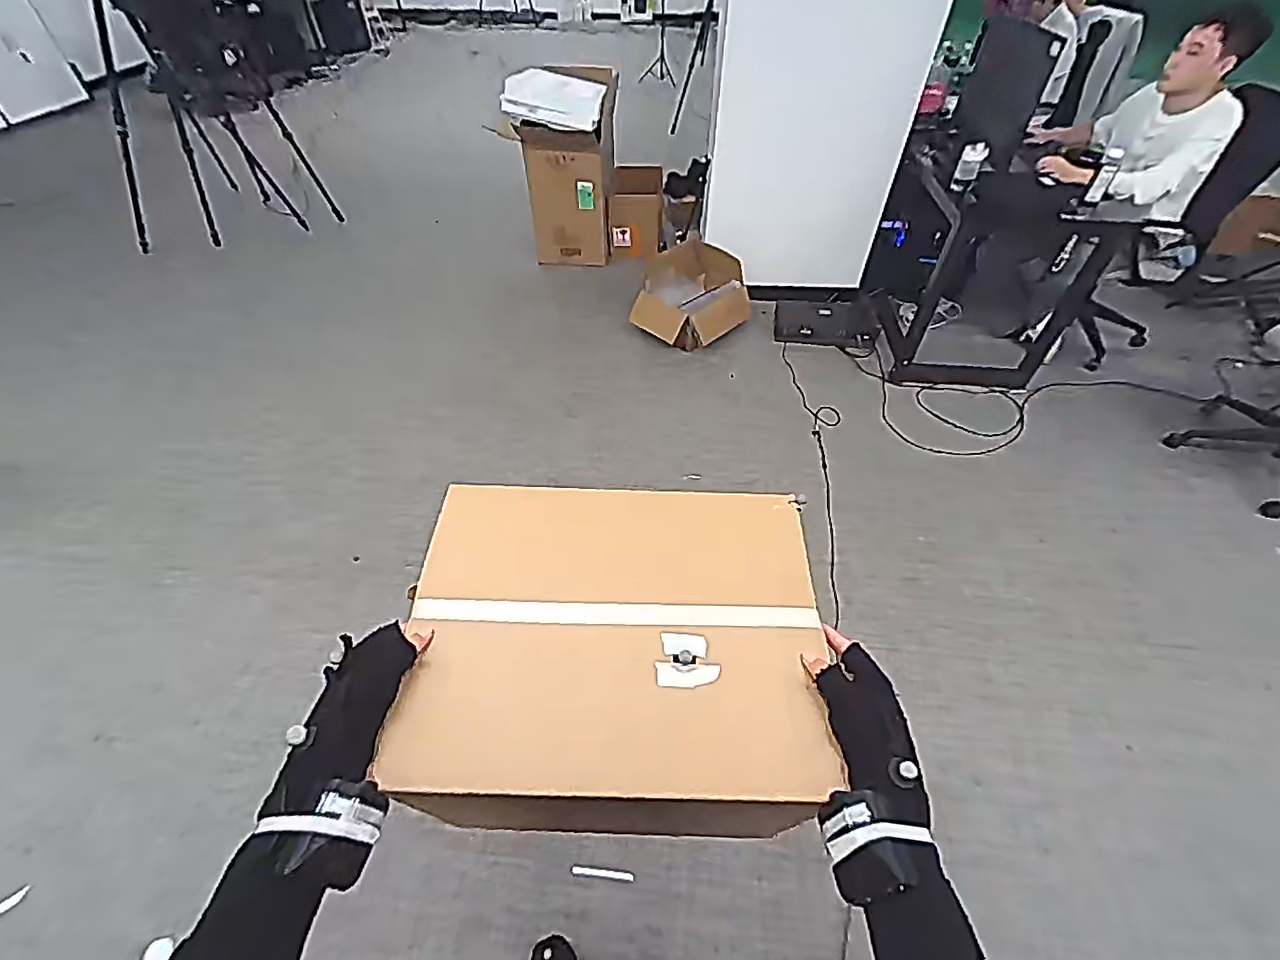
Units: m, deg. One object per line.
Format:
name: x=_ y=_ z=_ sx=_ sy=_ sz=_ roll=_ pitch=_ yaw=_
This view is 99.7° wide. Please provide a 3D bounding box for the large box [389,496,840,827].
large box: x=-0.026 y=0.237 z=0.676 sx=0.408 sy=0.320 sz=0.320 roll=2 pitch=53 yaw=-1
